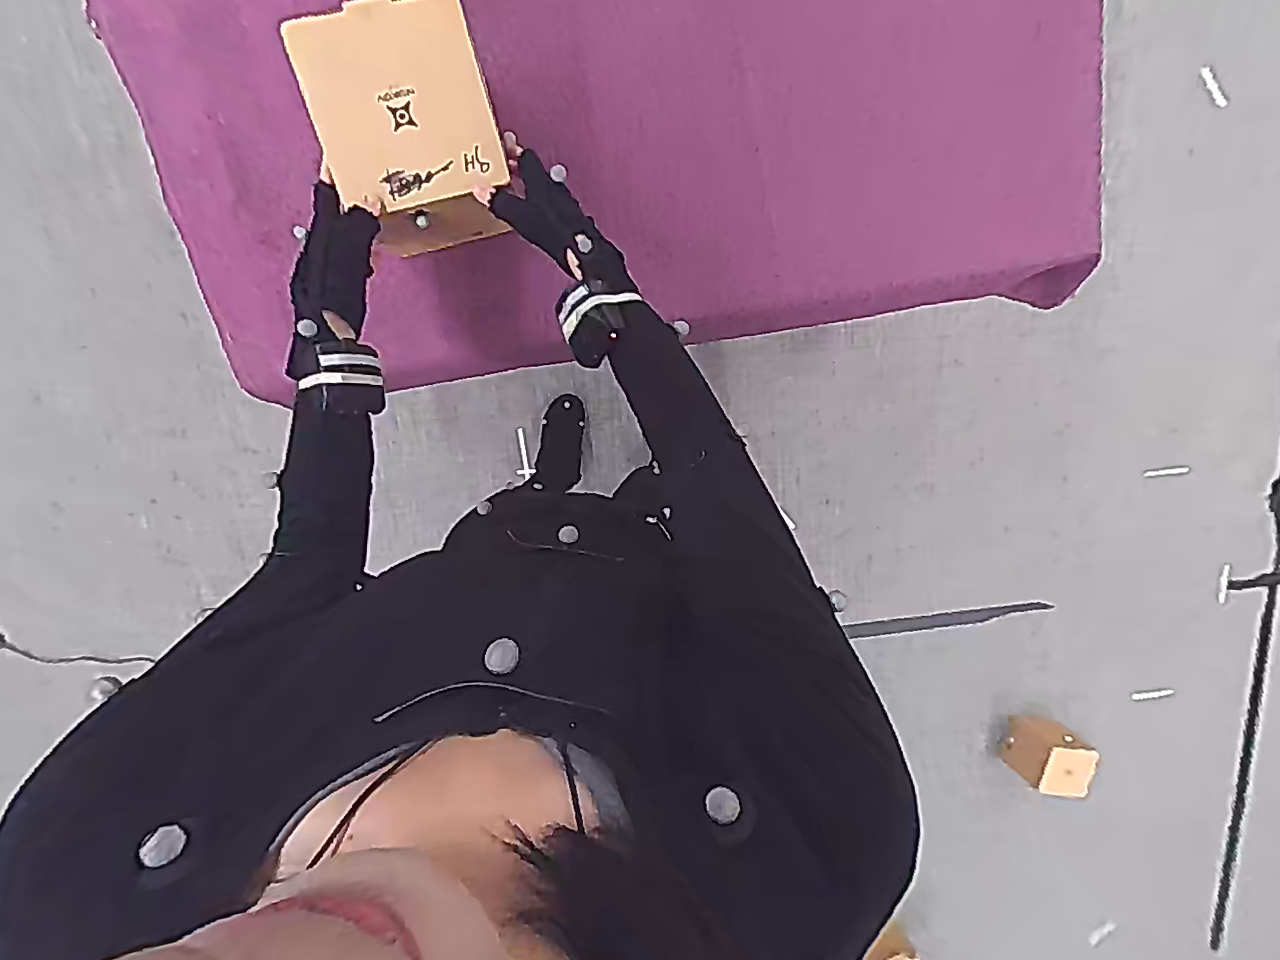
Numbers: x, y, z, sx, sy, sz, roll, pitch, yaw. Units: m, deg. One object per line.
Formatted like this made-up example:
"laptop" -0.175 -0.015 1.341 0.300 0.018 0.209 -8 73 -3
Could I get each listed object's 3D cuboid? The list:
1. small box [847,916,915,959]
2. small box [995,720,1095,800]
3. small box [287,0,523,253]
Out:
"small box" 0.836 1.655 1.863 0.168 0.176 0.179 -18 103 -4
"small box" 1.327 0.915 1.780 0.179 0.176 0.168 9 98 -8
"small box" -0.234 -0.371 0.590 0.168 0.176 0.179 -16 102 -4
